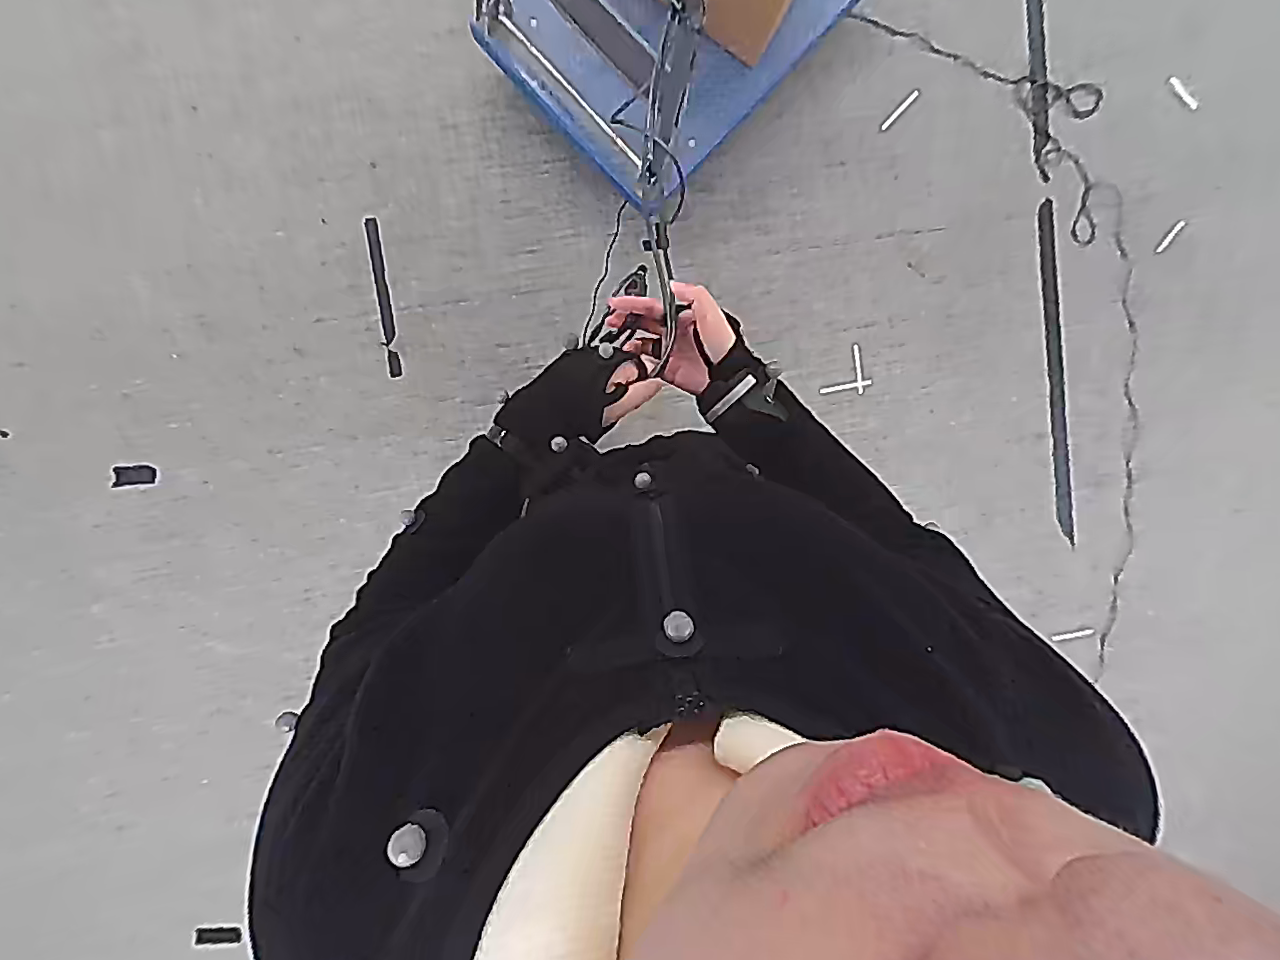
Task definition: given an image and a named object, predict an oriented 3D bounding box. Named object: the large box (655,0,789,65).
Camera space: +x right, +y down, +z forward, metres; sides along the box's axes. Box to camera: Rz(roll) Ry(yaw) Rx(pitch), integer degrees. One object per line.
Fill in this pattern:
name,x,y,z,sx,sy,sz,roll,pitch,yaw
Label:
large box,0.174,-1.163,1.070,0.408,0.320,0.320,29,93,-8
